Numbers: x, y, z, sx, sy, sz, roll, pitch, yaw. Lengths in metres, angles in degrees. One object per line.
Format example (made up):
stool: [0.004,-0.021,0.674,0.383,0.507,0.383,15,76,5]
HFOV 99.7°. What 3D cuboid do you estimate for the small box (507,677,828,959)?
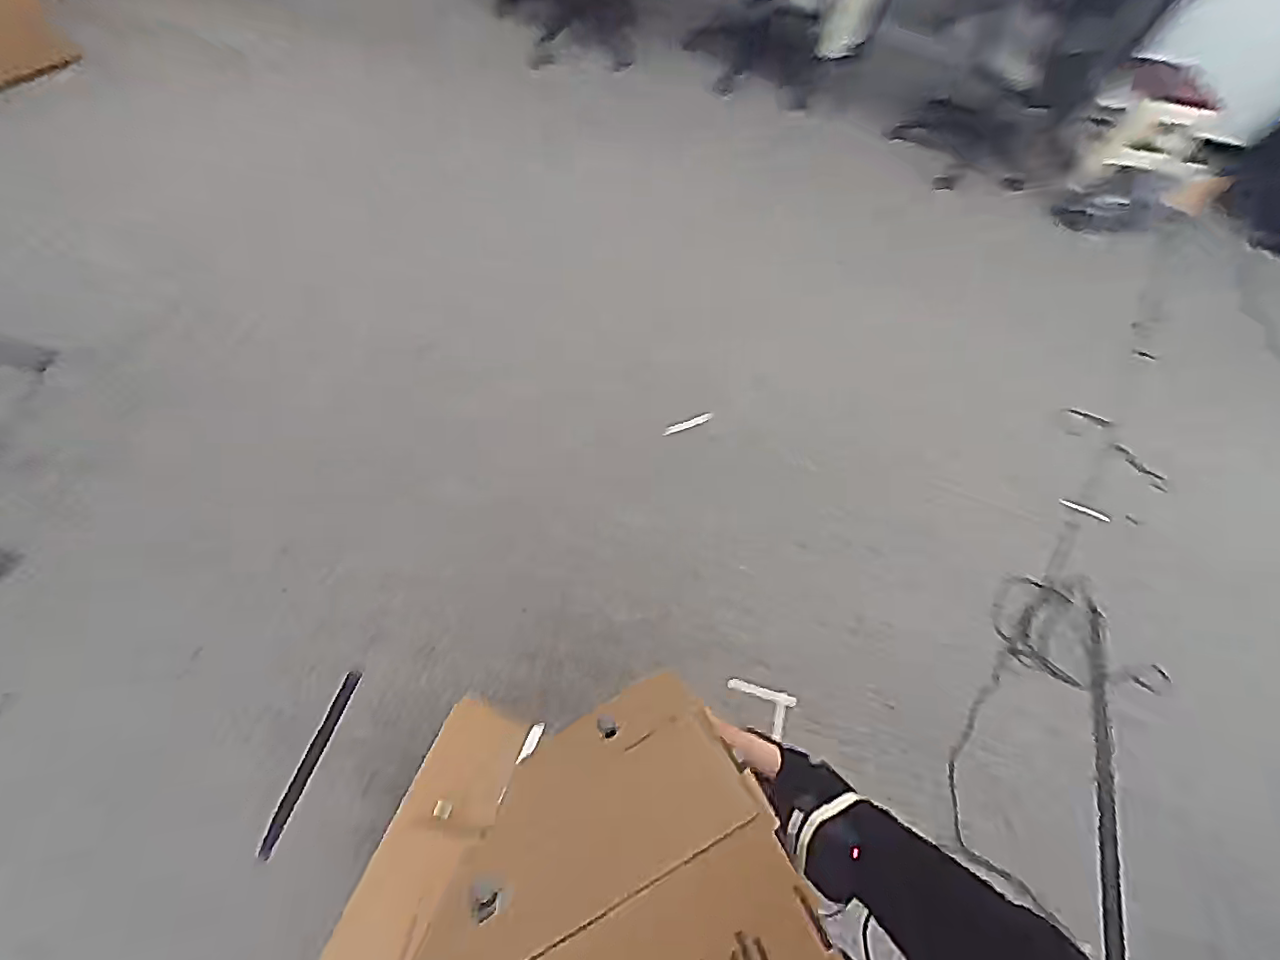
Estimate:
small box: [0.012,0.286,0.448,0.179,0.176,0.168,-28,82,-11]
